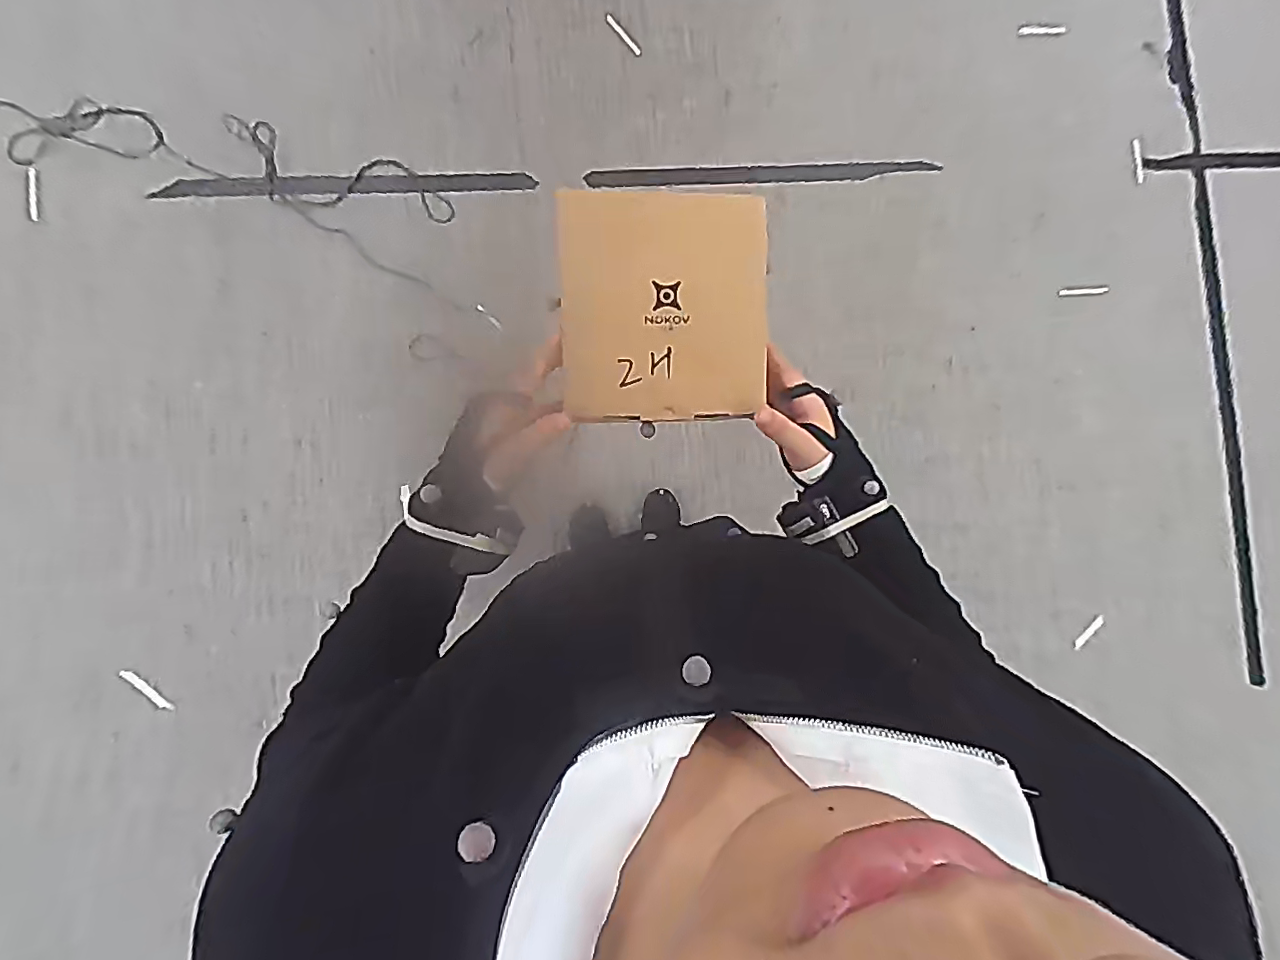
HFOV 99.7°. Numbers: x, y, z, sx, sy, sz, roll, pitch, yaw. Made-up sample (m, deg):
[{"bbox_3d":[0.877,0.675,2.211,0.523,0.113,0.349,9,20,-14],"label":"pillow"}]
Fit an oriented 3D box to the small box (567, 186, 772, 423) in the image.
[{"bbox_3d":[0.015,-0.145,0.506,0.168,0.176,0.179,-2,95,-6],"label":"small box"}]
